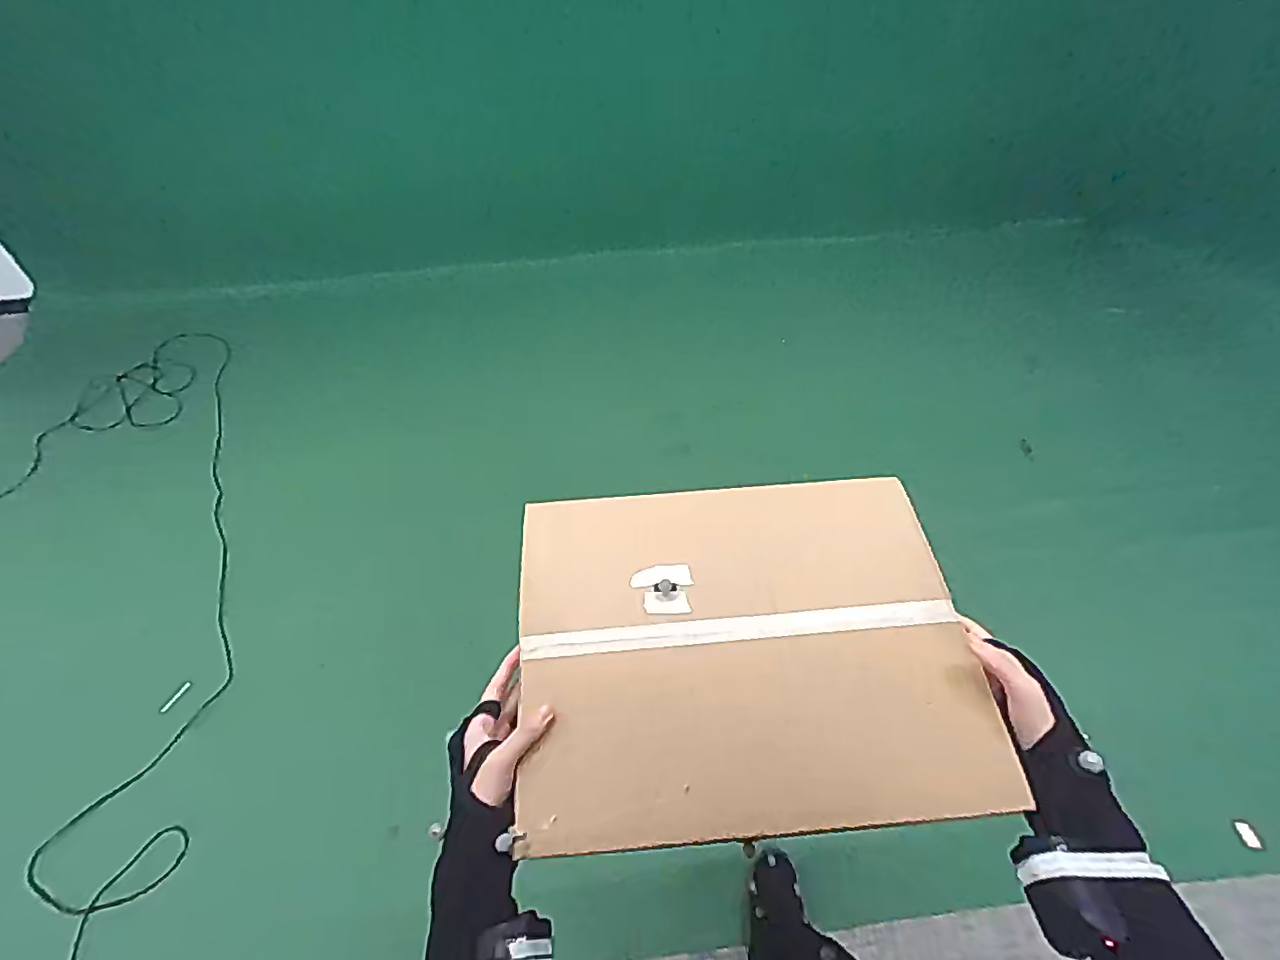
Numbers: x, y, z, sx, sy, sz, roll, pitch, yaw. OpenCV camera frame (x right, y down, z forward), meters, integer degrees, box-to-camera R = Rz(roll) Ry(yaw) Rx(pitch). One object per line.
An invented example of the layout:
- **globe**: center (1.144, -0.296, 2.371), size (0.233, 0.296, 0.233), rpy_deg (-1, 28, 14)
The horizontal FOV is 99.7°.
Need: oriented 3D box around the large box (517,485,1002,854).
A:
- **large box**: center (0.093, 0.230, 0.638), size (0.408, 0.320, 0.320), rpy_deg (-4, 56, -1)
